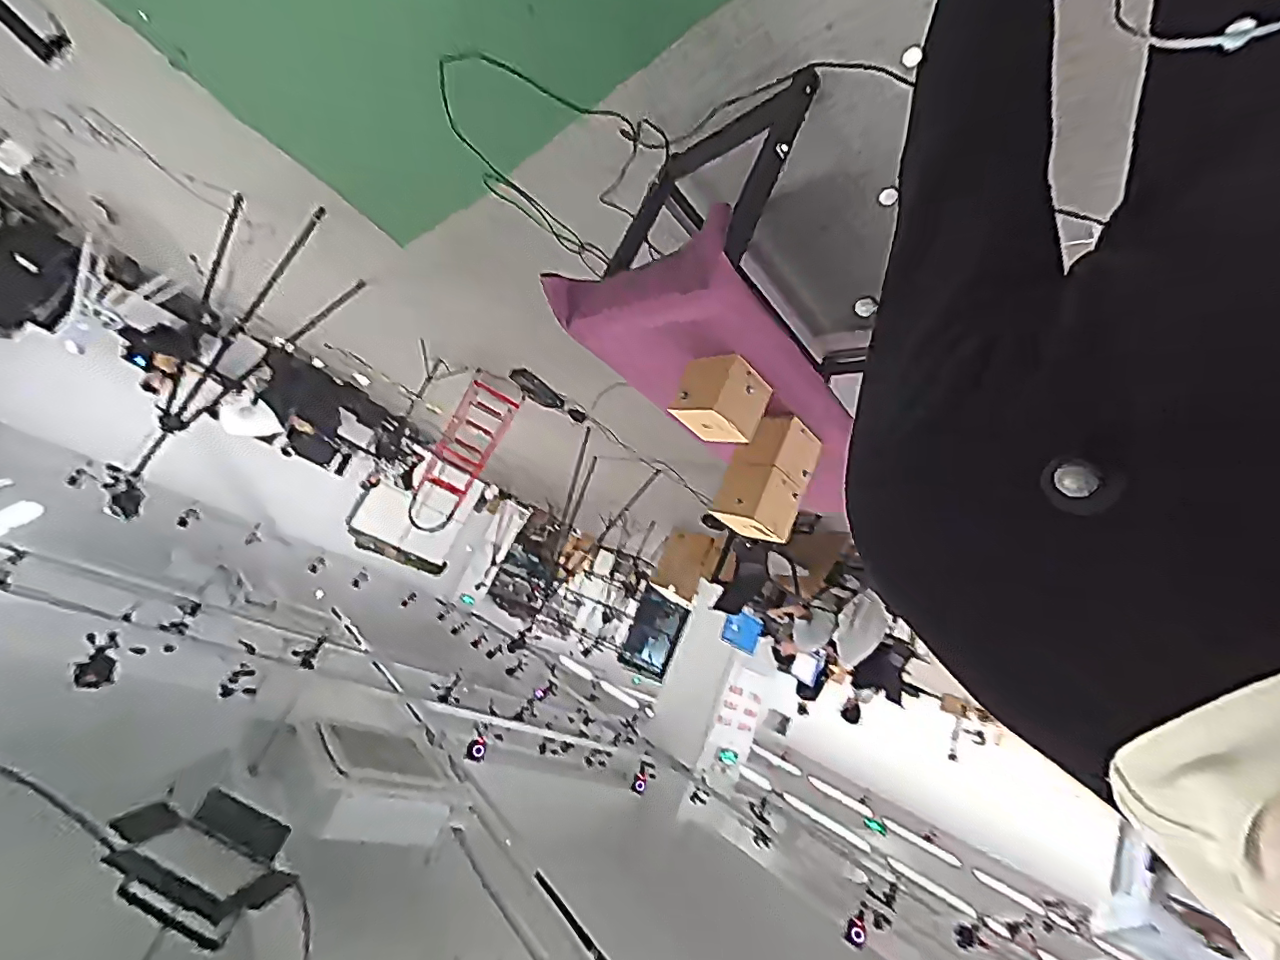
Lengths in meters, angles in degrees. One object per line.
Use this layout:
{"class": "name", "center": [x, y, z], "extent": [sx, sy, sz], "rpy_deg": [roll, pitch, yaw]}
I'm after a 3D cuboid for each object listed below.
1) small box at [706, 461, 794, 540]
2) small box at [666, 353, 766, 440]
{"class": "small box", "center": [0.329, 0.056, 1.582], "extent": [0.168, 0.176, 0.179], "rpy_deg": [35, 163, -36]}
{"class": "small box", "center": [0.206, -0.223, 1.449], "extent": [0.168, 0.176, 0.179], "rpy_deg": [35, 163, -37]}
